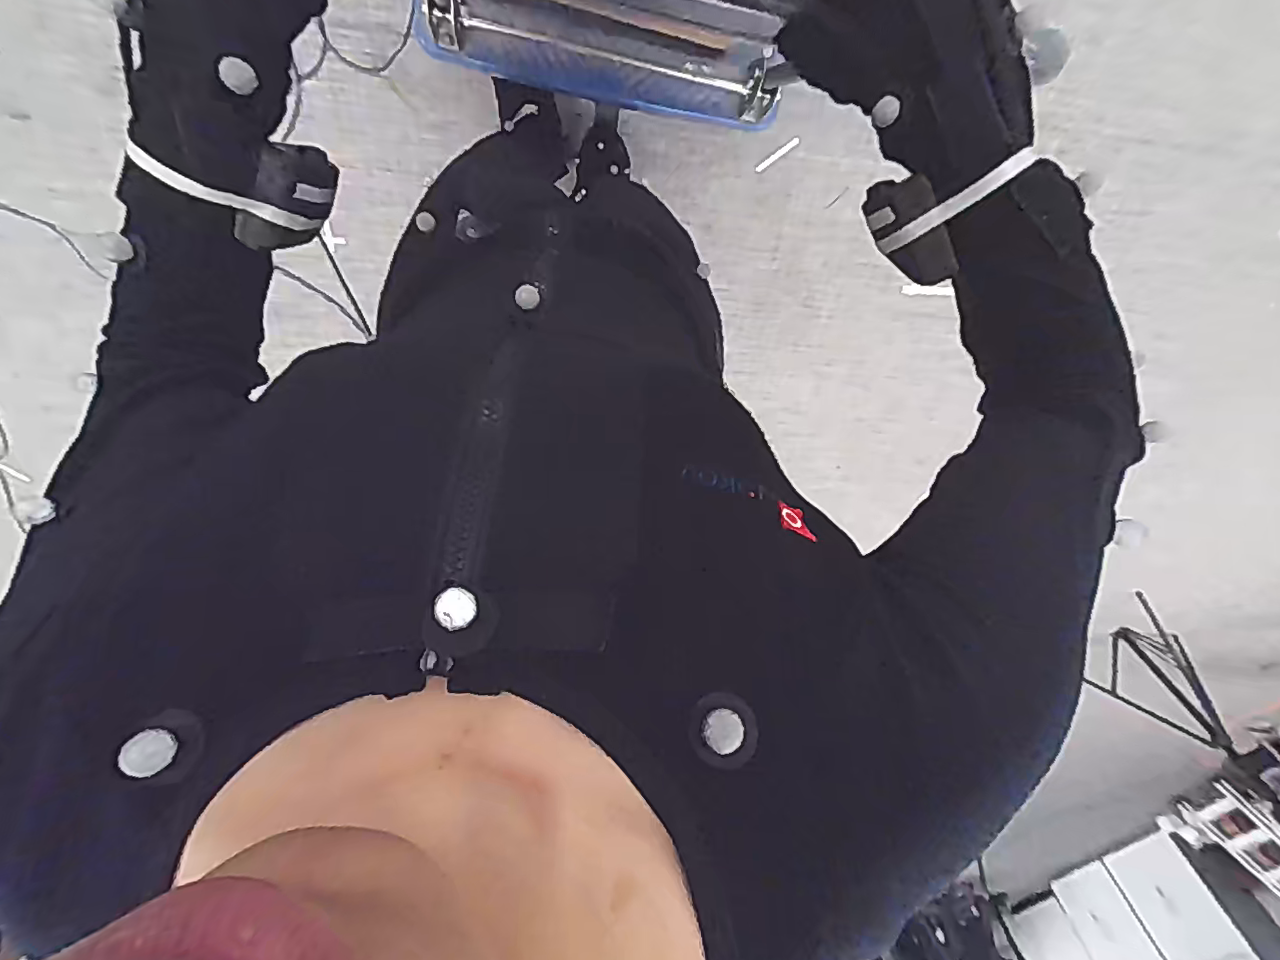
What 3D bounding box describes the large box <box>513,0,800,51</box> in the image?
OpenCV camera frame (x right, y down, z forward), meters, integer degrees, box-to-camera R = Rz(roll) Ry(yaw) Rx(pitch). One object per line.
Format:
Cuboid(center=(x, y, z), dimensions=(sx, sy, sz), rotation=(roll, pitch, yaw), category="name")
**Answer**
Cuboid(center=(-0.010, -0.746, 0.611), dimensions=(0.408, 0.320, 0.320), rotation=(5, 119, -13), category="large box")
